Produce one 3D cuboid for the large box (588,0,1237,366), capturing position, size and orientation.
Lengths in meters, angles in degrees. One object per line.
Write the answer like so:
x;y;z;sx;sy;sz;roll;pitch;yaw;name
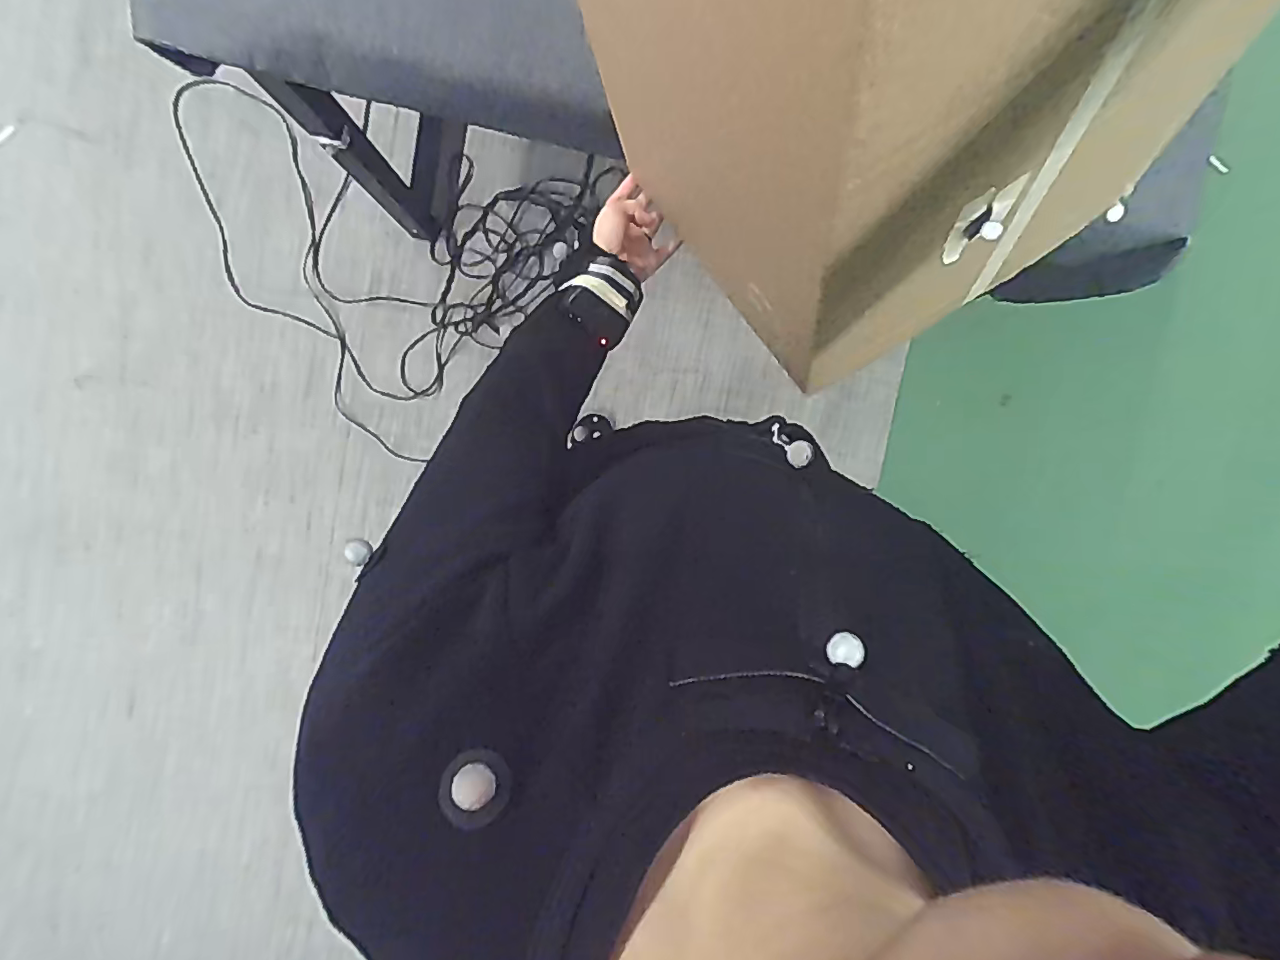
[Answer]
0.152;-0.346;0.327;0.320;0.408;0.320;-33;72;4;large box
